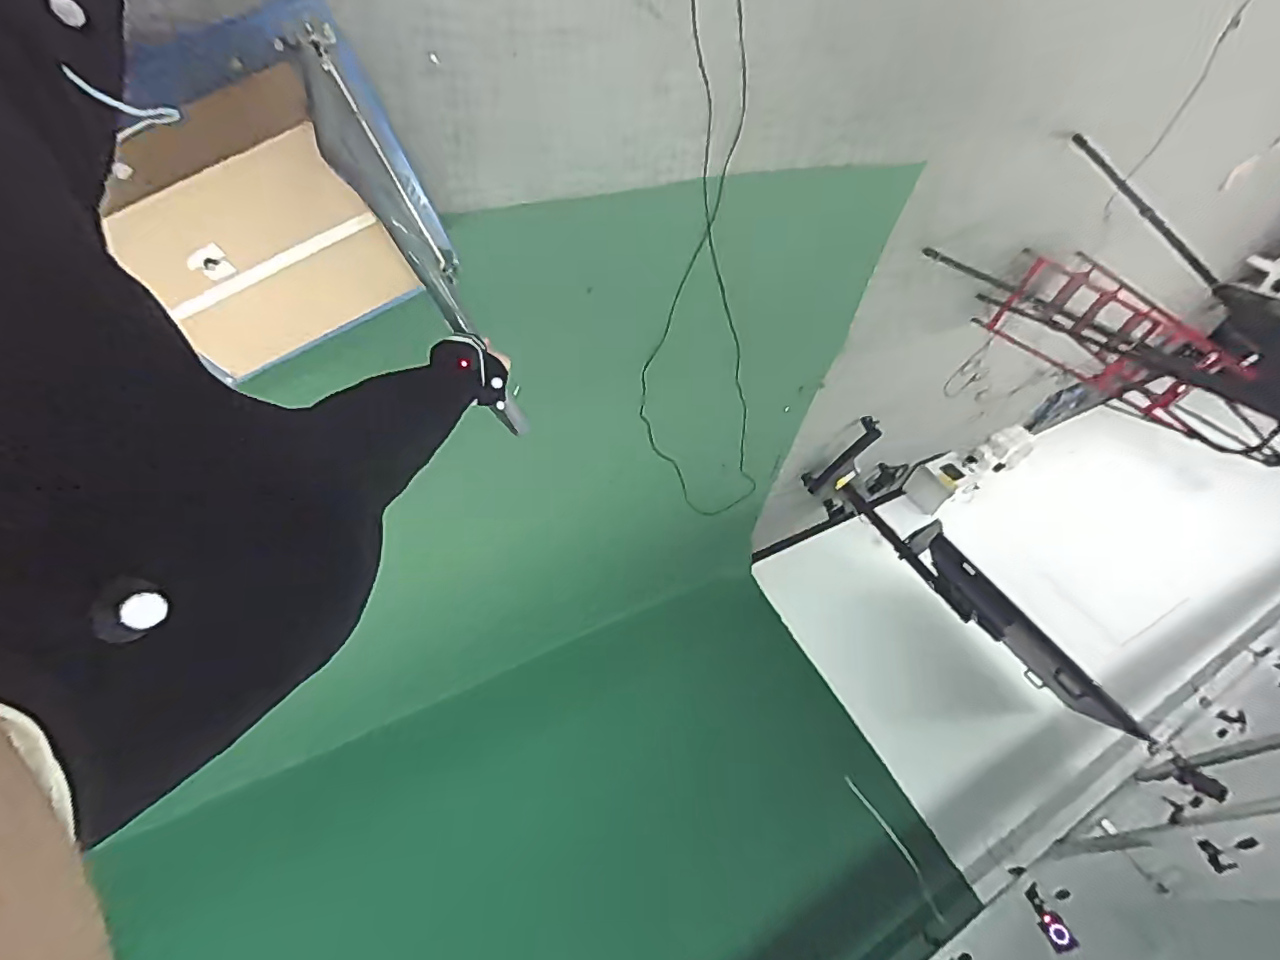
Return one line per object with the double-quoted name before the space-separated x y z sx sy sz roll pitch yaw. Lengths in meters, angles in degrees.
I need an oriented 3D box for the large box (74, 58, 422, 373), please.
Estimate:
"large box" -0.697 -0.486 1.007 0.408 0.320 0.320 -30 148 -4
